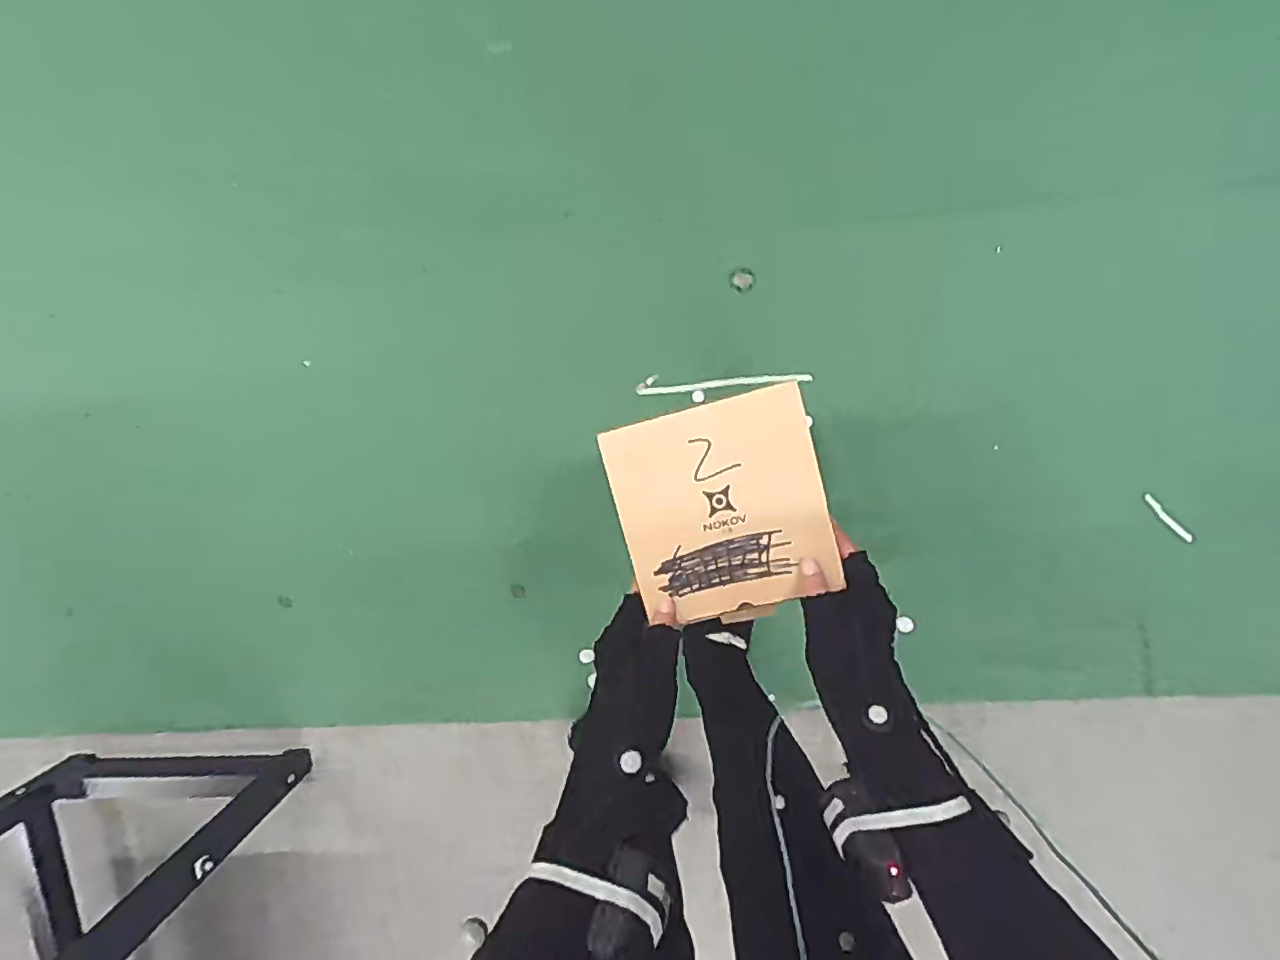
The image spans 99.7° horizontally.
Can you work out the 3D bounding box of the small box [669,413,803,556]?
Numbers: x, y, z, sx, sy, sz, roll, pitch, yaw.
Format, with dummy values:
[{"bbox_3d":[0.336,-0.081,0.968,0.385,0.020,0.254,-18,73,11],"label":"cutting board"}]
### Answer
[{"bbox_3d":[0.127,-0.002,0.762,0.168,0.176,0.179,-4,98,5],"label":"small box"}]
